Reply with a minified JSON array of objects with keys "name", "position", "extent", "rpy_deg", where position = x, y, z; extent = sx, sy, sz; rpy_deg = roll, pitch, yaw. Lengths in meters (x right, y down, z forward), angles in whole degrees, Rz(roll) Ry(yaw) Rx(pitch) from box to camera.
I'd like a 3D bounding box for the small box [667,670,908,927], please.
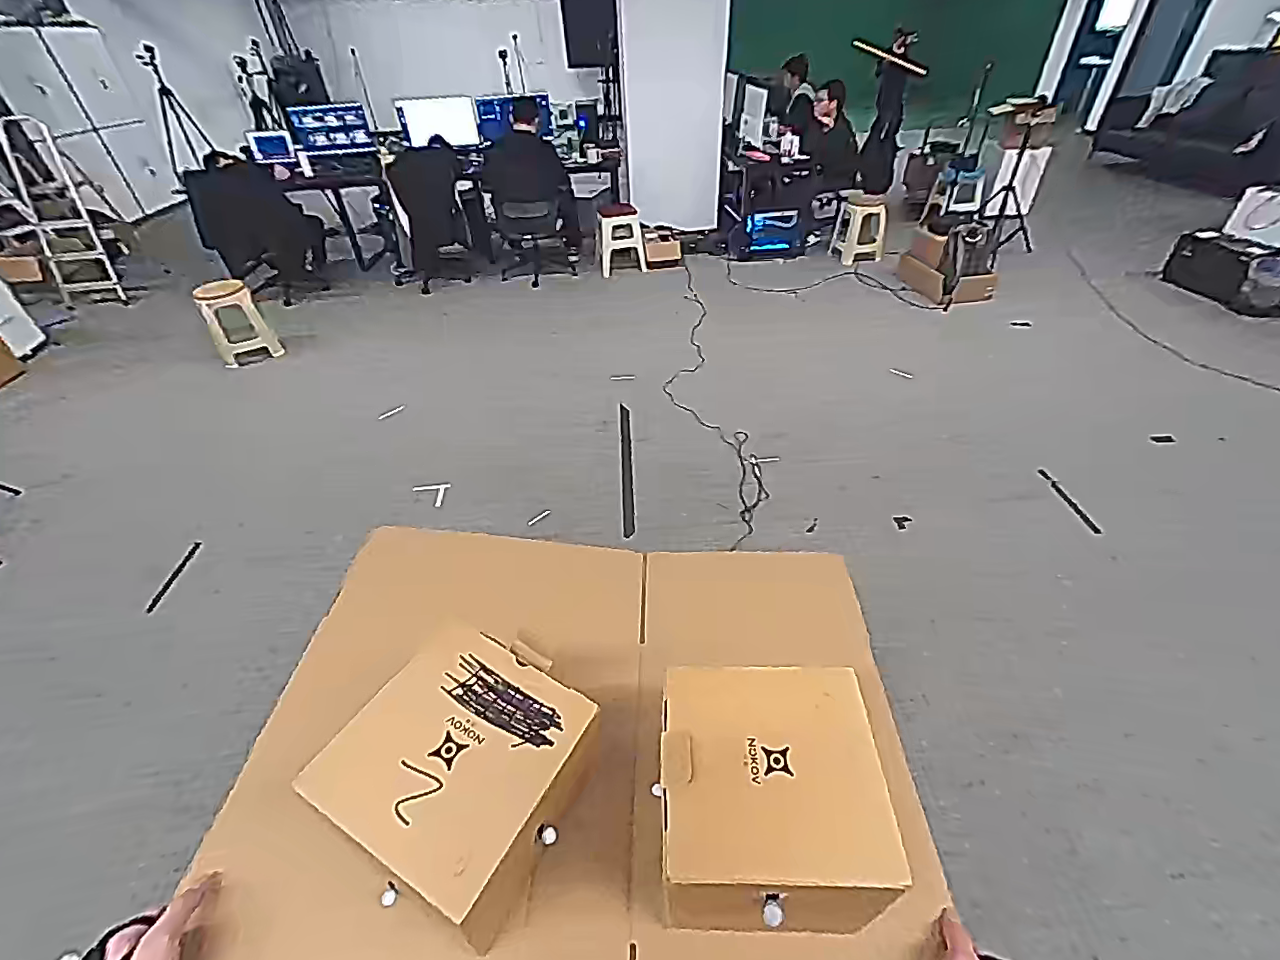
[{"name":"small box","position":[0.114,0.295,0.504],"extent":[0.179,0.176,0.168],"rpy_deg":[-2,42,3]}]
